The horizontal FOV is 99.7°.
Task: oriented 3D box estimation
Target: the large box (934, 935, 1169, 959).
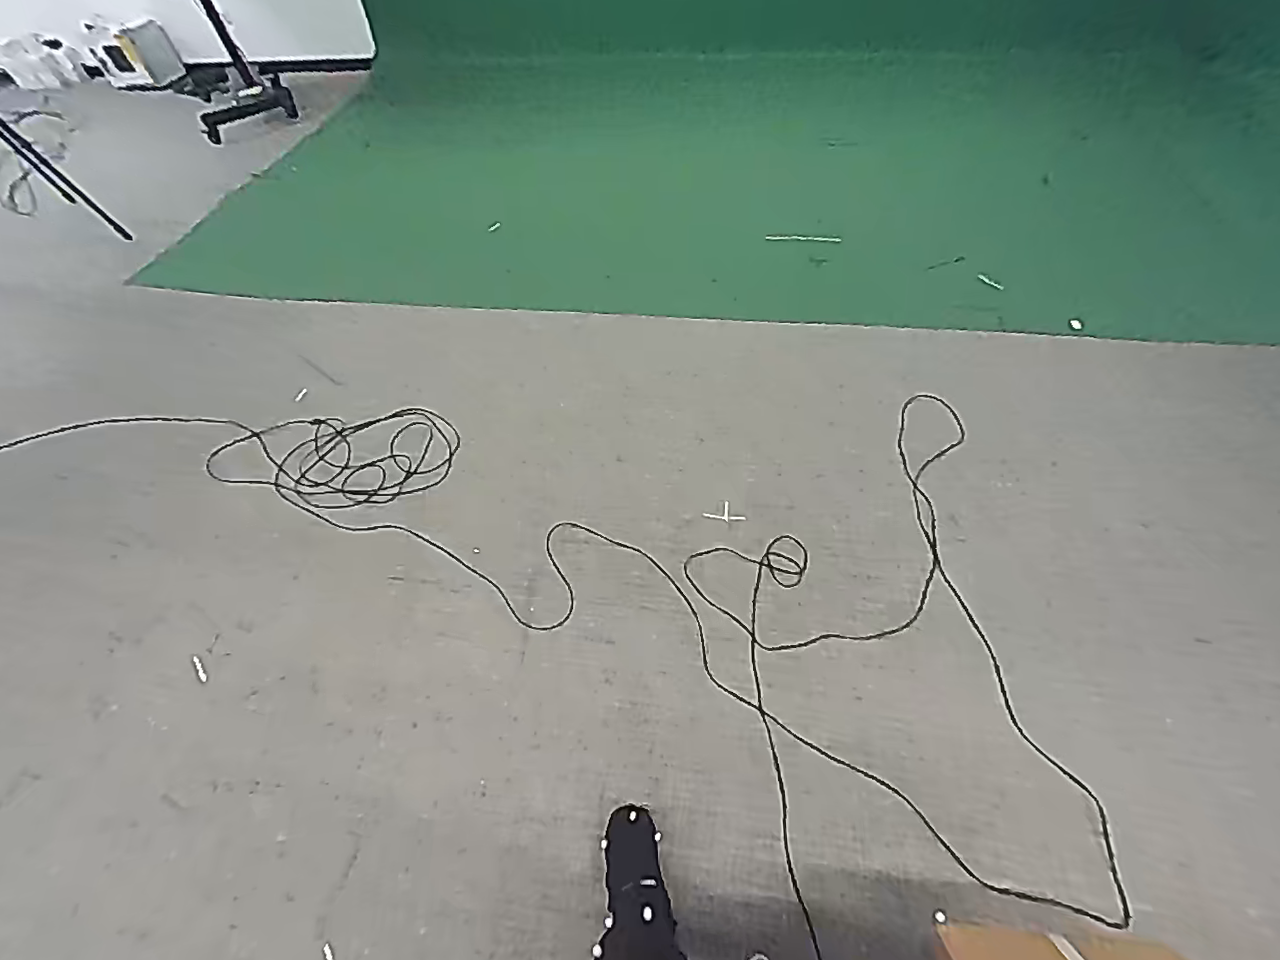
[{"bbox_3d":[0.556,0.788,0.560,0.320,0.408,0.320,0,82,8],"label":"large box"}]
